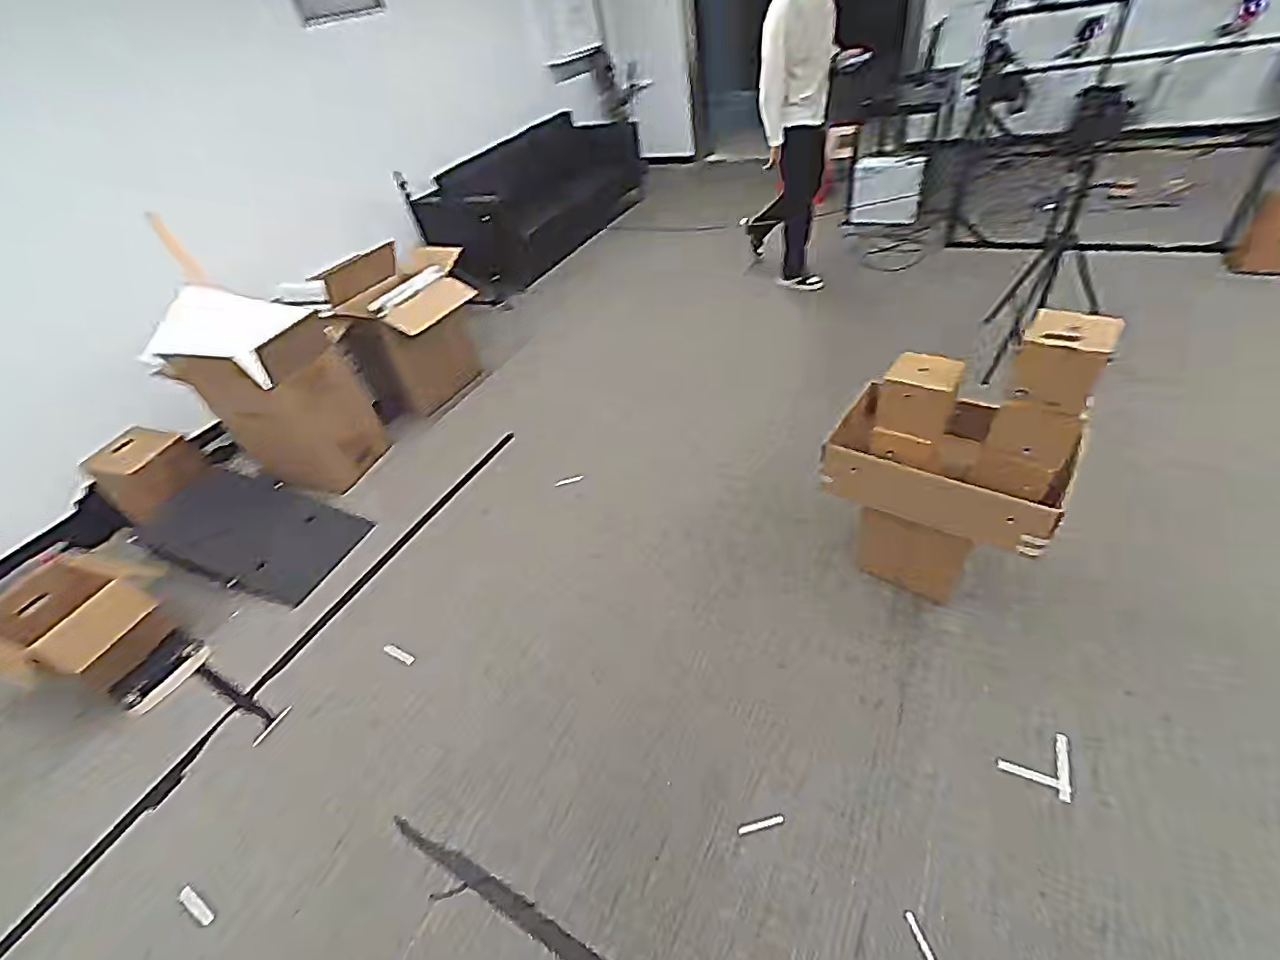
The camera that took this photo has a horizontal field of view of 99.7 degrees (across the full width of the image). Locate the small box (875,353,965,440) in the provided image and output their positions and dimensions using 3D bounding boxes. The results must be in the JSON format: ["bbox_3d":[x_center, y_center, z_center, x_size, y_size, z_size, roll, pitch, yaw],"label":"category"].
[{"bbox_3d":[0.795,-0.237,1.546,0.179,0.176,0.168,22,51,31],"label":"small box"}]

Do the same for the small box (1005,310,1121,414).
[{"bbox_3d":[1.005,-0.283,1.296,0.168,0.176,0.179,23,51,33],"label":"small box"}]

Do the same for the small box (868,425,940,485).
[{"bbox_3d":[0.810,-0.113,1.653,0.168,0.176,0.179,21,50,30],"label":"small box"}]

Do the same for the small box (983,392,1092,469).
[{"bbox_3d":[1.021,-0.152,1.397,0.179,0.176,0.168,20,50,30],"label":"small box"}]
